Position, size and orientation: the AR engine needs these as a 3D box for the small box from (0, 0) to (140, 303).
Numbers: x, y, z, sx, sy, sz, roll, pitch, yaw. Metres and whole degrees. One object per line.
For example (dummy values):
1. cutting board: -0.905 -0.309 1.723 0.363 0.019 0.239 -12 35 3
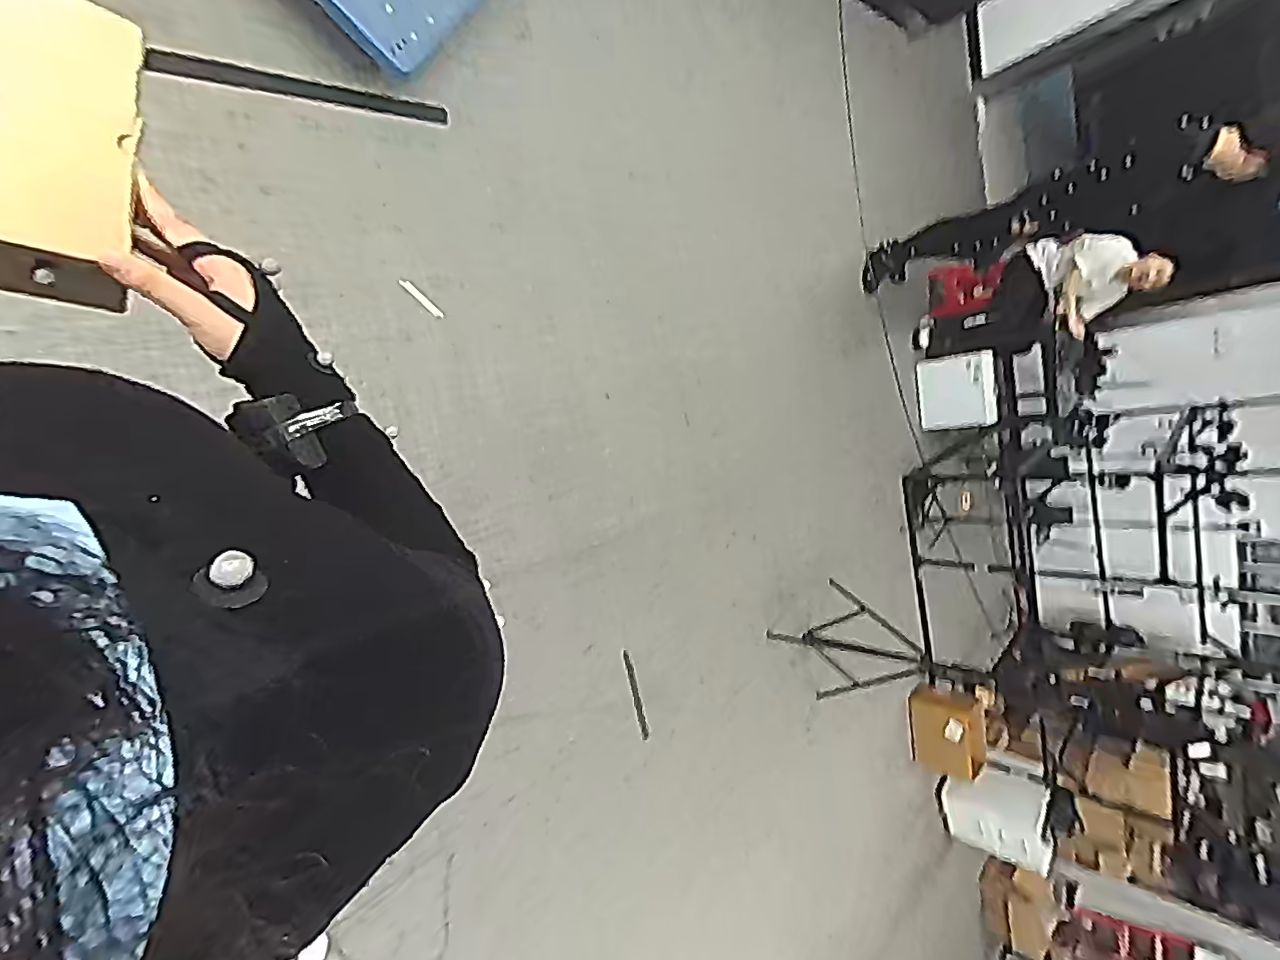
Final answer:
1. small box: -0.457 -0.229 0.356 0.179 0.176 0.168 3 90 -47
